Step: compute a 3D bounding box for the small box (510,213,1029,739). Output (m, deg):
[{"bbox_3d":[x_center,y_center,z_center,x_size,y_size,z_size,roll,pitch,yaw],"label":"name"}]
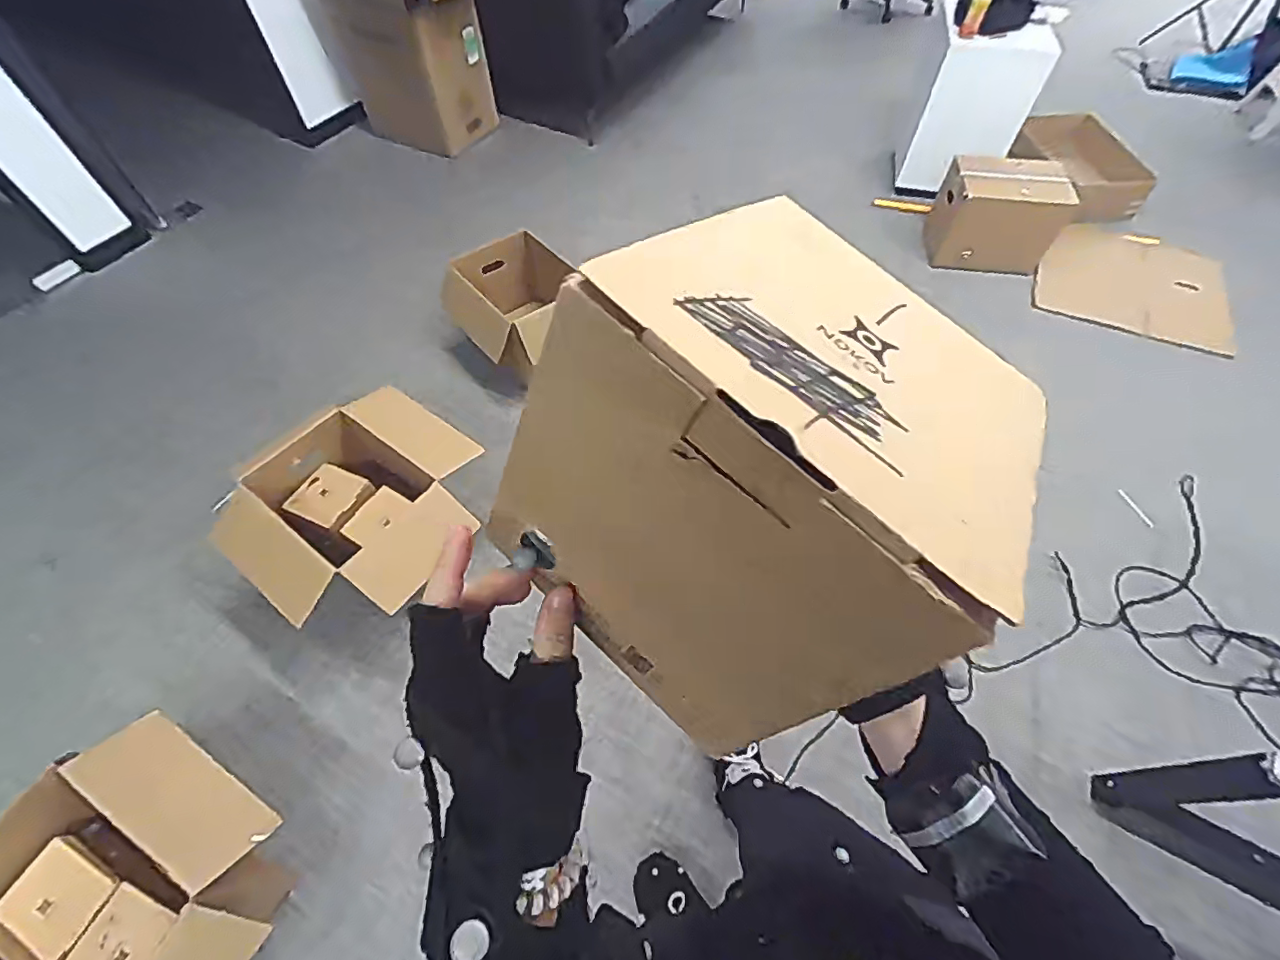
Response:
[{"bbox_3d":[0.052,-0.002,0.279,0.168,0.176,0.179,42,47,8],"label":"small box"}]
